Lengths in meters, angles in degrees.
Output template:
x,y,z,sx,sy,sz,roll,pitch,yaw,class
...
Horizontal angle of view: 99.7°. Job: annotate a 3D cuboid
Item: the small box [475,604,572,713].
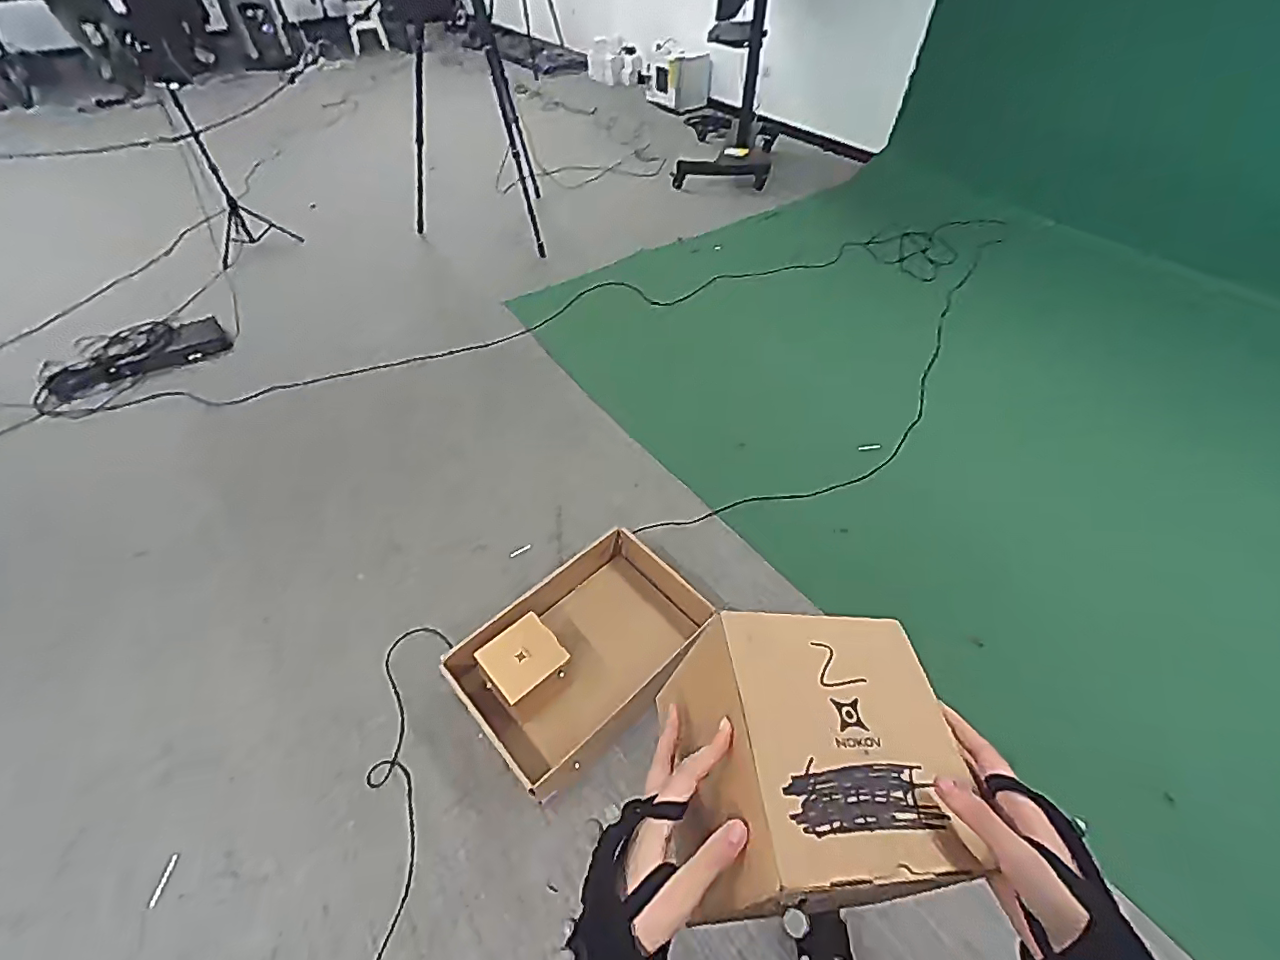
x,y,z,sx,sy,sz,roll,pitch,yaw,class
-0.288,0.461,1.382,0.179,0.176,0.168,-35,60,-27,small box
